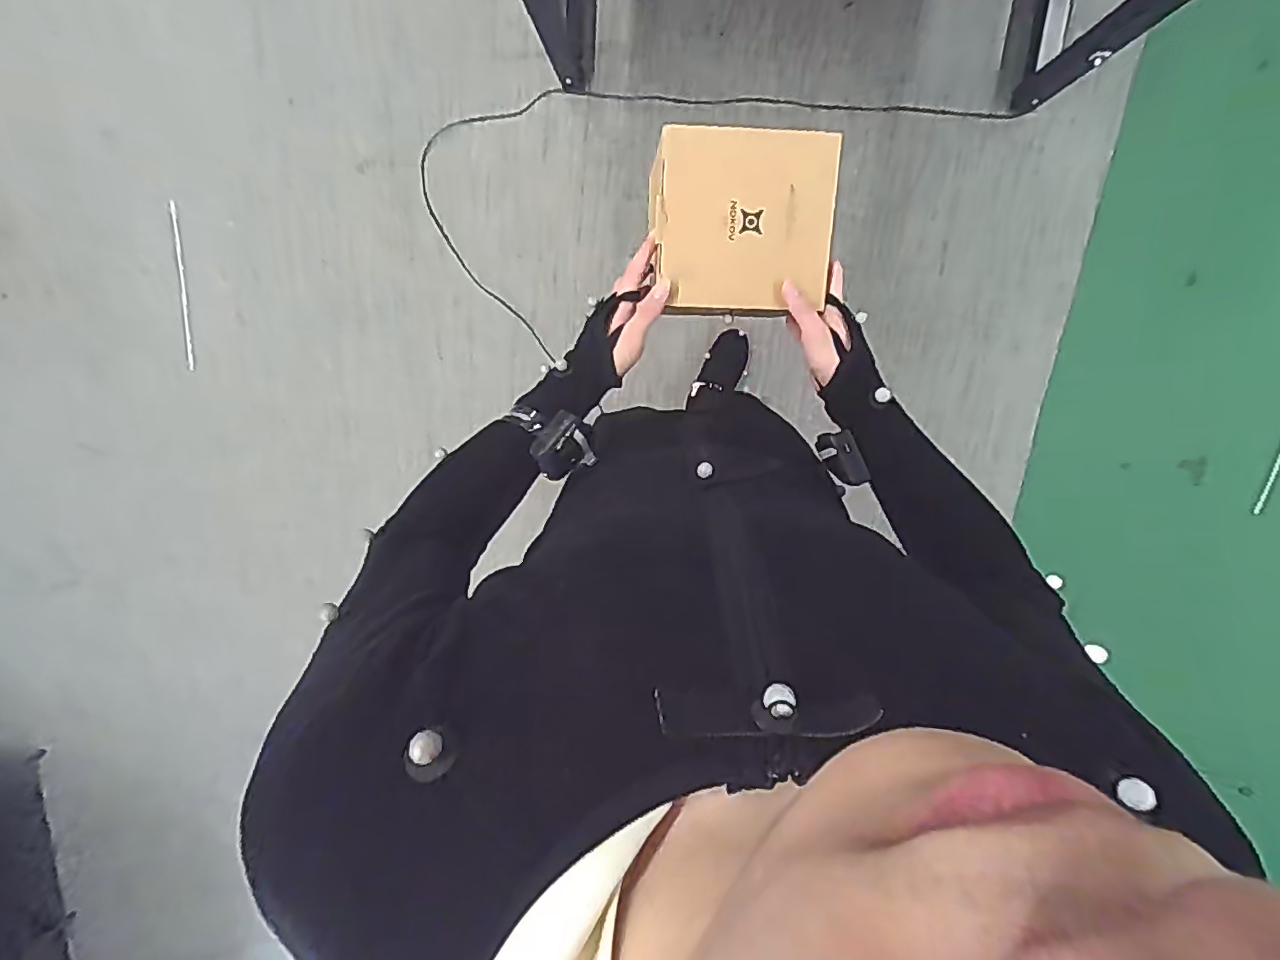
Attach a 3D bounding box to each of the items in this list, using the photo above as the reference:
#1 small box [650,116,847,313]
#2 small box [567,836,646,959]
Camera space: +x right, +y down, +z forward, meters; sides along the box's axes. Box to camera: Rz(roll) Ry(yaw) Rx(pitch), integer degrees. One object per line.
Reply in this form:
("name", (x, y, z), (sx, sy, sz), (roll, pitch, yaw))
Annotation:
("small box", (0.104, -0.279, 0.606), (0.179, 0.176, 0.168), (1, 105, -4))
("small box", (-0.081, 1.065, 1.383), (0.168, 0.176, 0.179), (9, 103, 4))
